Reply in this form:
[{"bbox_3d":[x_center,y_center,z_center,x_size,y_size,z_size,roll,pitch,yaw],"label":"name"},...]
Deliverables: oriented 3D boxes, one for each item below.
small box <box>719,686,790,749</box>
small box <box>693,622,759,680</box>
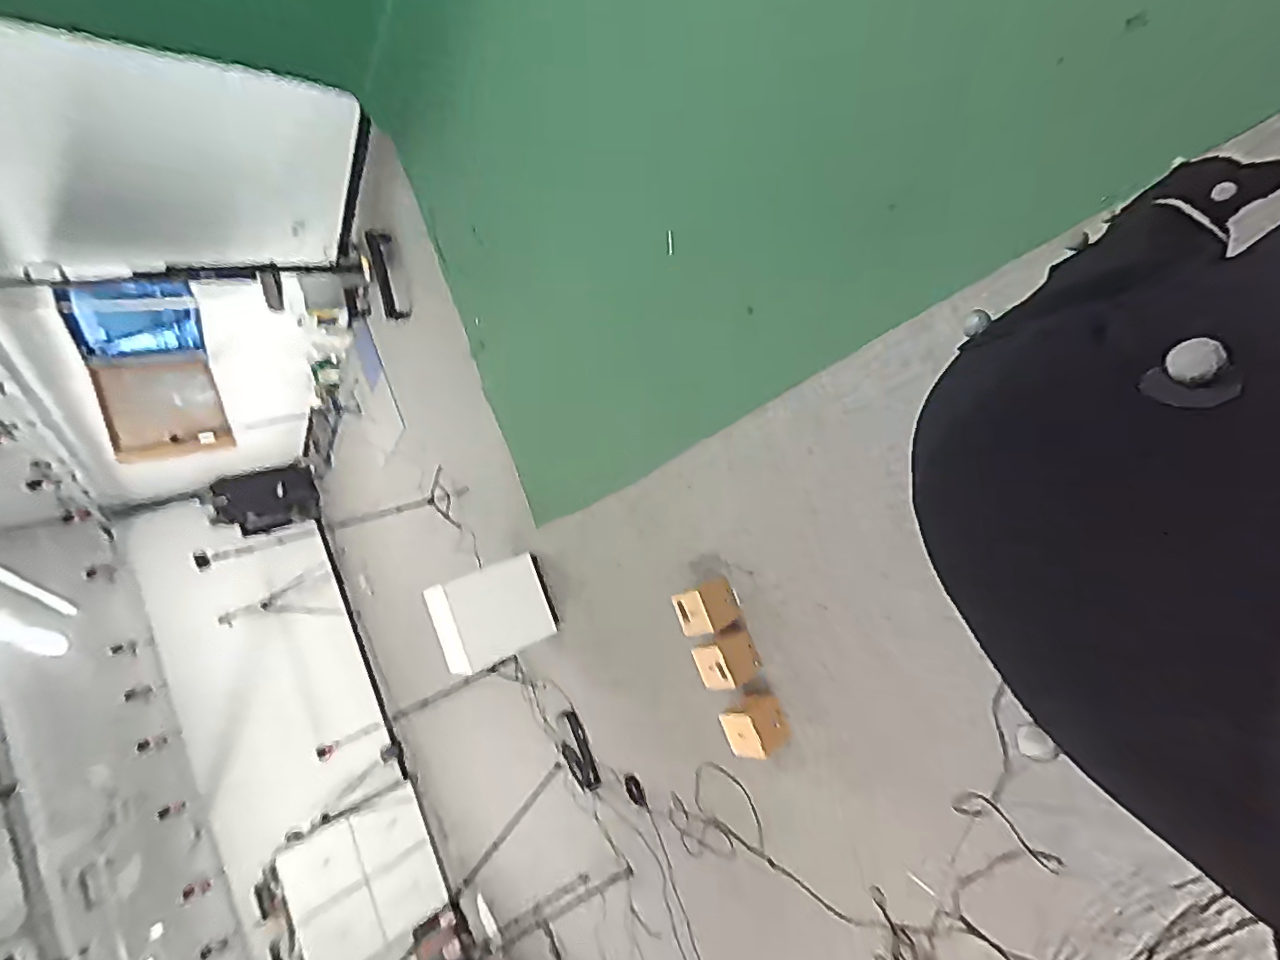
[{"bbox_3d":[0.448,0.917,2.102,0.179,0.176,0.168,-29,81,51],"label":"small box"},{"bbox_3d":[0.345,0.674,2.132,0.179,0.176,0.168,-30,80,52],"label":"small box"}]
